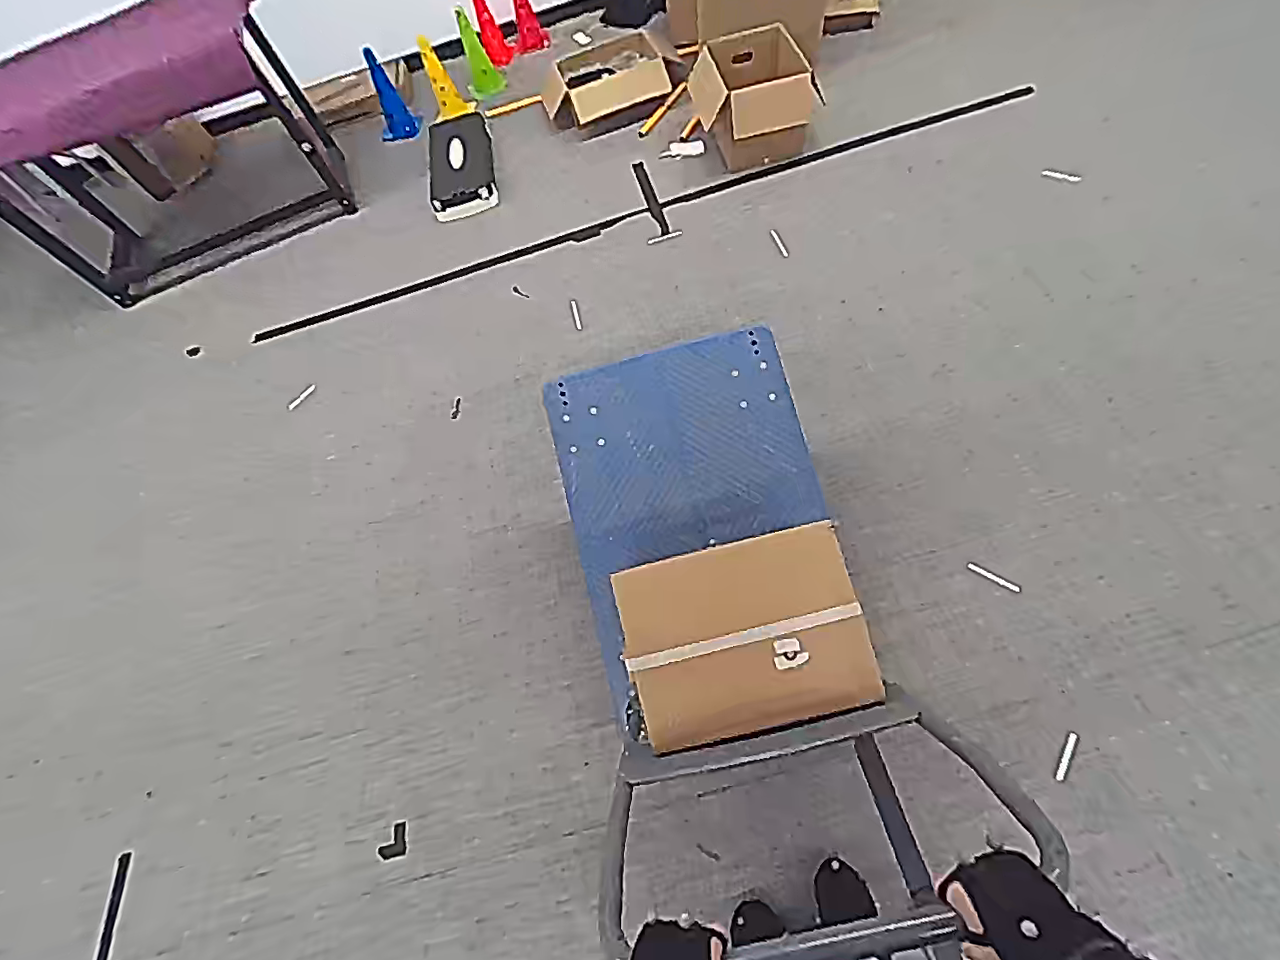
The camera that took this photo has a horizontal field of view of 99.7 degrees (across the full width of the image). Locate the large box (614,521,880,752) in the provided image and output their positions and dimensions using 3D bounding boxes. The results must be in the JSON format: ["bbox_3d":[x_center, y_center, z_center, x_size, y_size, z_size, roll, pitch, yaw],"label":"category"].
[{"bbox_3d":[0.189,0.292,1.092,0.408,0.320,0.320,-15,82,1],"label":"large box"}]
